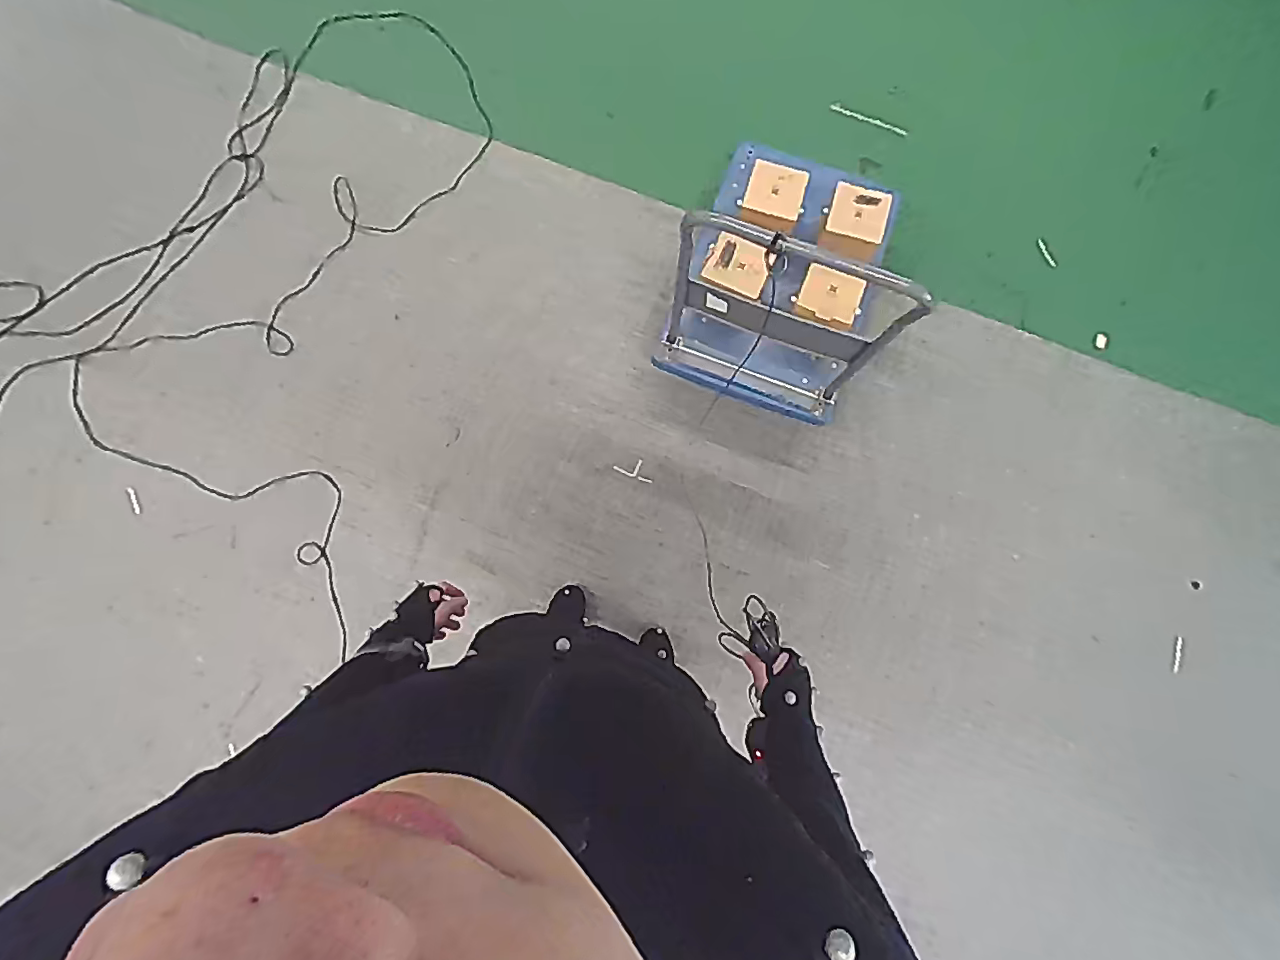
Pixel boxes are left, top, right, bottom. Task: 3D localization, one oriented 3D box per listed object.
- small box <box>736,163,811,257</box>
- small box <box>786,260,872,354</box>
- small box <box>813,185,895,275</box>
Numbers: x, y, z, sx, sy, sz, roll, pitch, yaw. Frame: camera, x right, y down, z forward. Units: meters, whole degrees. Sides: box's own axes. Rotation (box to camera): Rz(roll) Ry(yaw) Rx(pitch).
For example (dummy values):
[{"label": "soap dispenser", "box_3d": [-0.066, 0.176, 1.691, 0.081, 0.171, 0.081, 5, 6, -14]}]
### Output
[{"label": "small box", "box_3d": [0.401, -0.818, 1.656, 0.168, 0.176, 0.179, 17, 77, 3]}, {"label": "small box", "box_3d": [0.544, -0.501, 1.584, 0.168, 0.176, 0.179, 22, 79, 5]}, {"label": "small box", "box_3d": [0.642, -0.746, 1.640, 0.168, 0.176, 0.179, 17, 78, 4]}]
